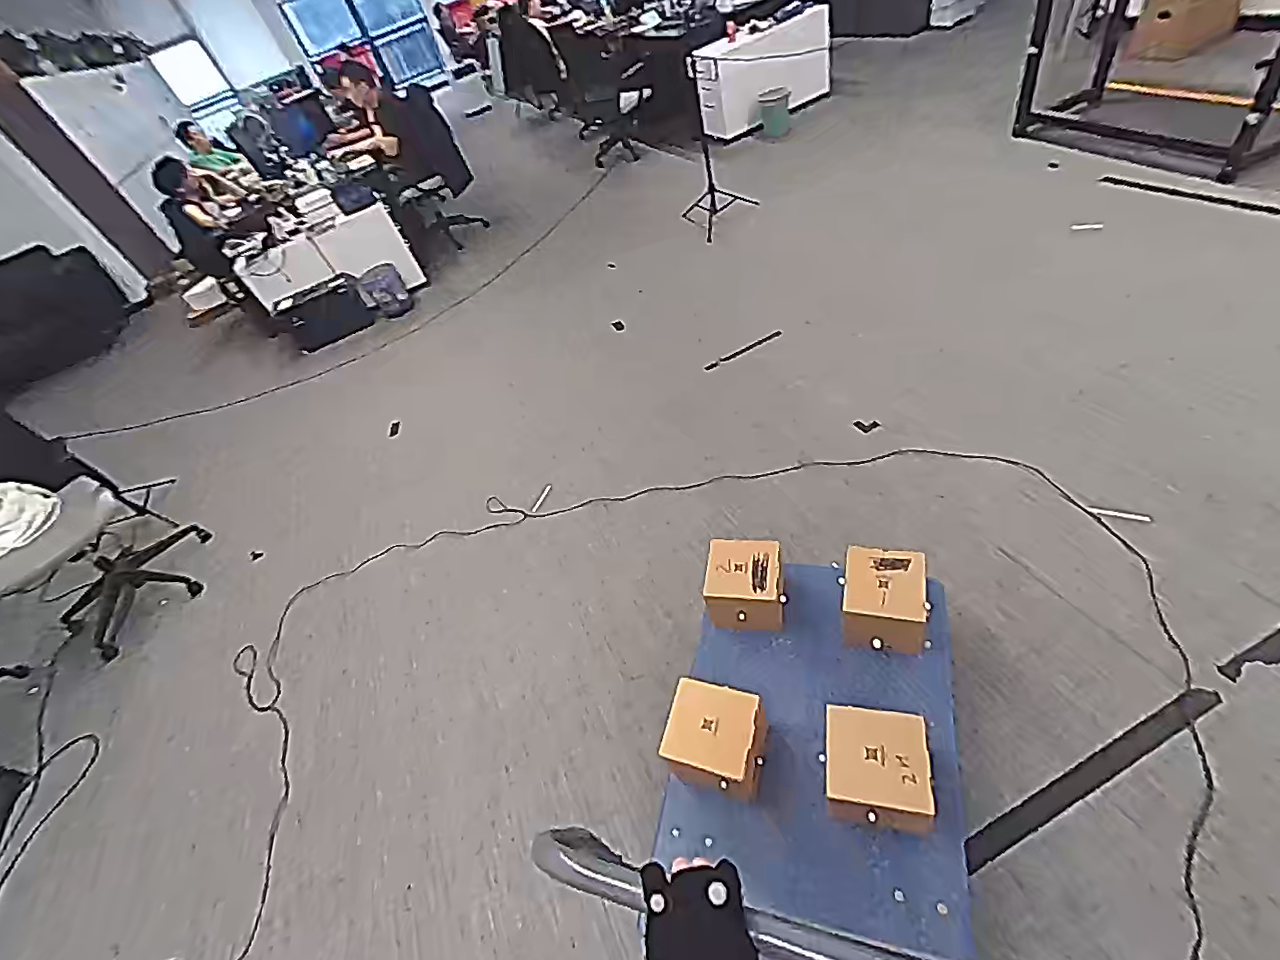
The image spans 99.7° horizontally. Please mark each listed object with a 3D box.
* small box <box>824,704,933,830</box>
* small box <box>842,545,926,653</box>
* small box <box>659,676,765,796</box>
[{"bbox_3d":[0.451,0.553,1.041,0.179,0.176,0.168,0,49,20],"label":"small box"},{"bbox_3d":[0.564,0.276,1.258,0.168,0.176,0.179,4,51,23],"label":"small box"},{"bbox_3d":[0.161,0.547,1.153,0.179,0.176,0.168,6,51,22],"label":"small box"}]
